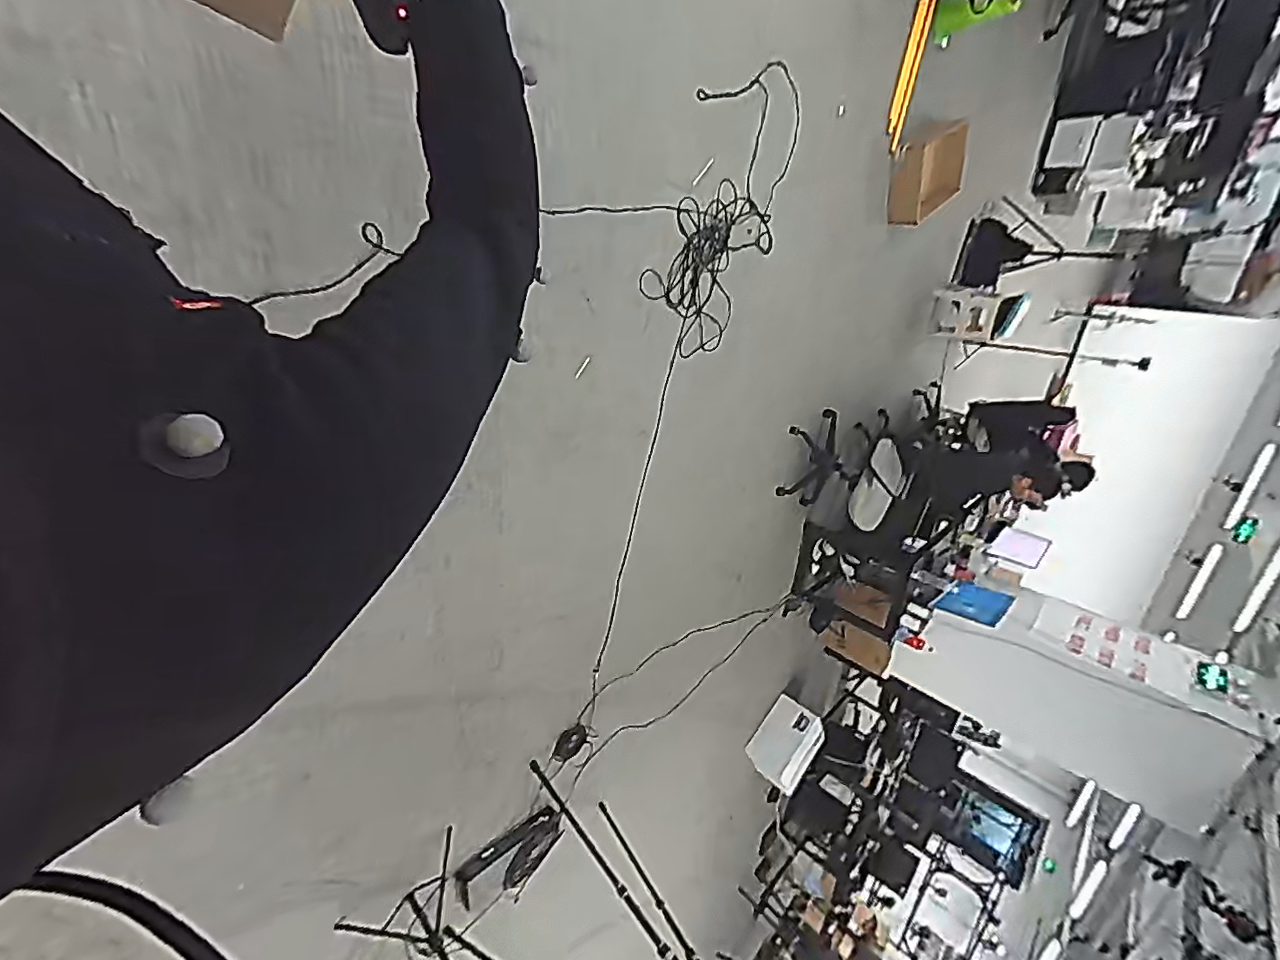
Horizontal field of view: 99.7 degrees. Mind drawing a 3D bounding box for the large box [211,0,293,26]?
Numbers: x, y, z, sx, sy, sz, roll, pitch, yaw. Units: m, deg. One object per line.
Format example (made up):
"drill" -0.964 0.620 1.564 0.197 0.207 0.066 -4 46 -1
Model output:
"large box" -0.385 -0.533 0.267 0.408 0.320 0.320 7 110 -39
